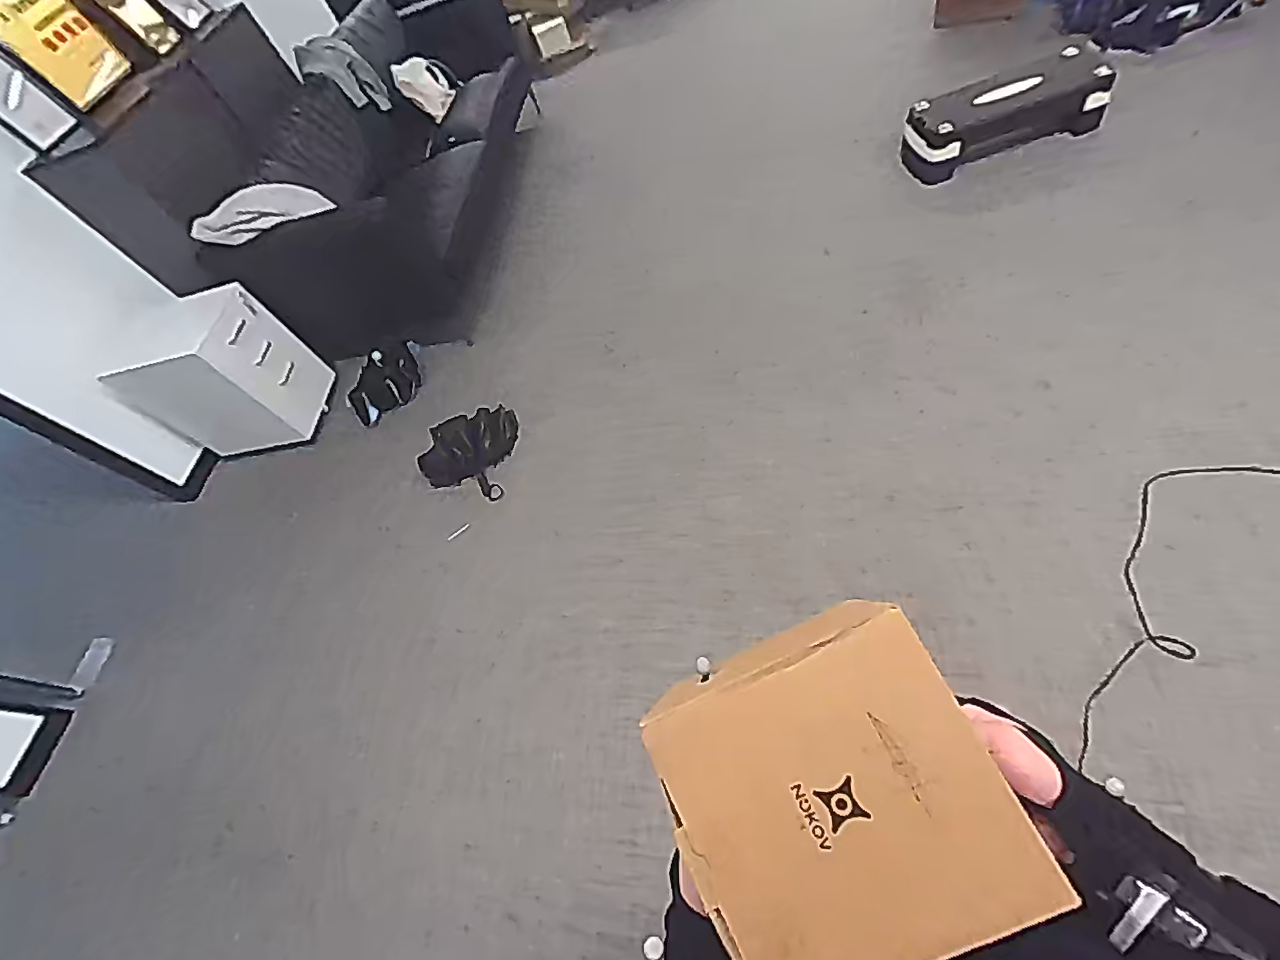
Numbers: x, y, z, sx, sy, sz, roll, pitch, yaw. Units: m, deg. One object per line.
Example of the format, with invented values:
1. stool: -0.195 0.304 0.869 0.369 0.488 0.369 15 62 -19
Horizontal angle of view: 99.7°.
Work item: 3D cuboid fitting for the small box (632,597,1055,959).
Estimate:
1. small box: 0.120 0.195 0.380 0.179 0.176 0.168 -29 75 4
